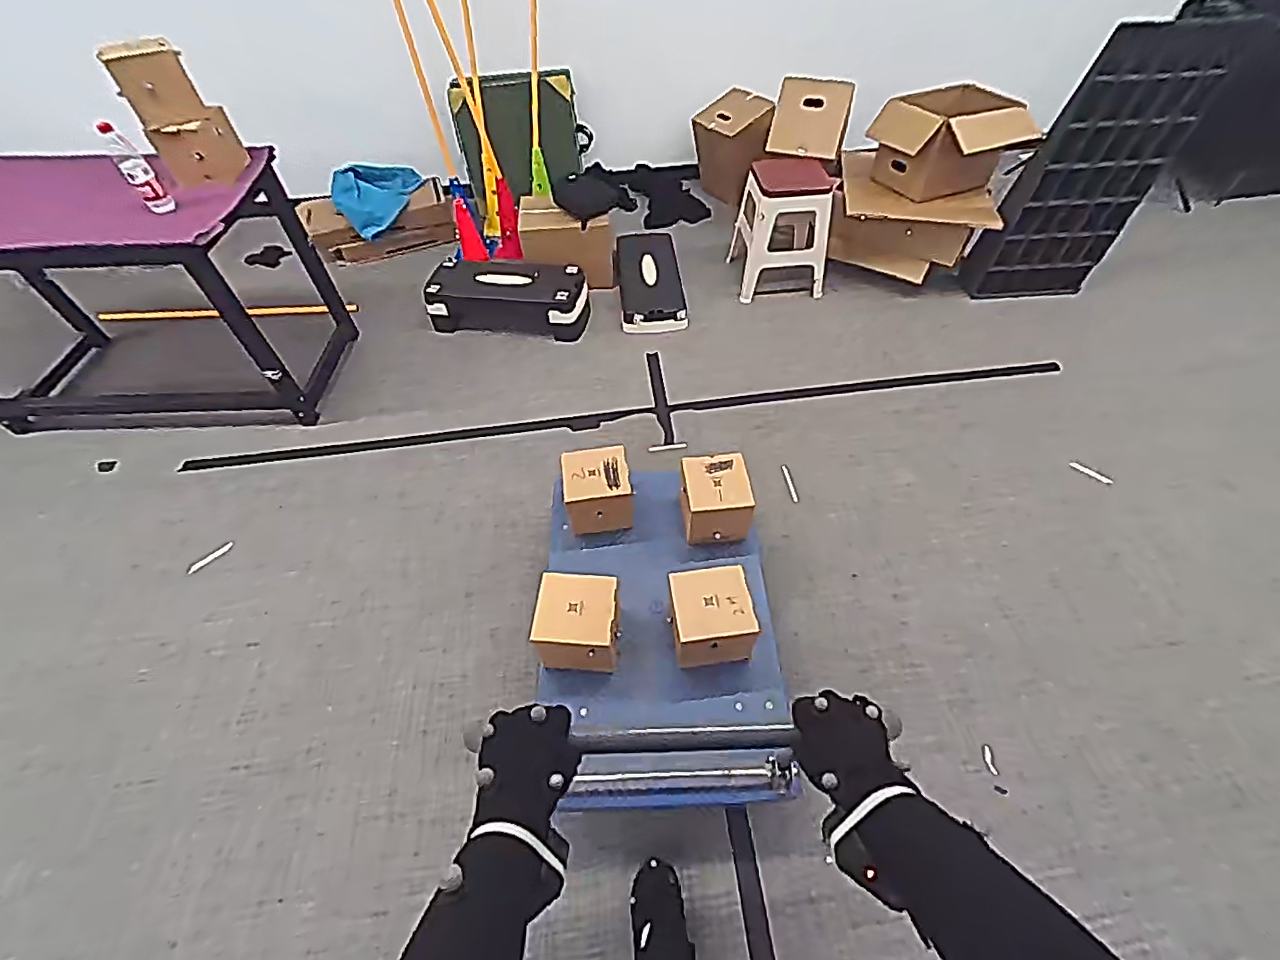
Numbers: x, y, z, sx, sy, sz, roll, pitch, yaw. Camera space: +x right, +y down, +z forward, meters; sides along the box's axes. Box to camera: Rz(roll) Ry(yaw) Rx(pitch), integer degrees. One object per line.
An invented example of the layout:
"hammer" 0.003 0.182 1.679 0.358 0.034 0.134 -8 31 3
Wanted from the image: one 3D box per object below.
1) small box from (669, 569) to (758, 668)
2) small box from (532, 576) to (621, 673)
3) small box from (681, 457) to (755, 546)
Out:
"small box" 0.165 0.328 1.269 0.179 0.176 0.168 -7 53 -3
"small box" -0.140 0.342 1.269 0.179 0.176 0.168 3 52 2
"small box" 0.204 0.060 1.472 0.168 0.176 0.179 -5 54 -2
